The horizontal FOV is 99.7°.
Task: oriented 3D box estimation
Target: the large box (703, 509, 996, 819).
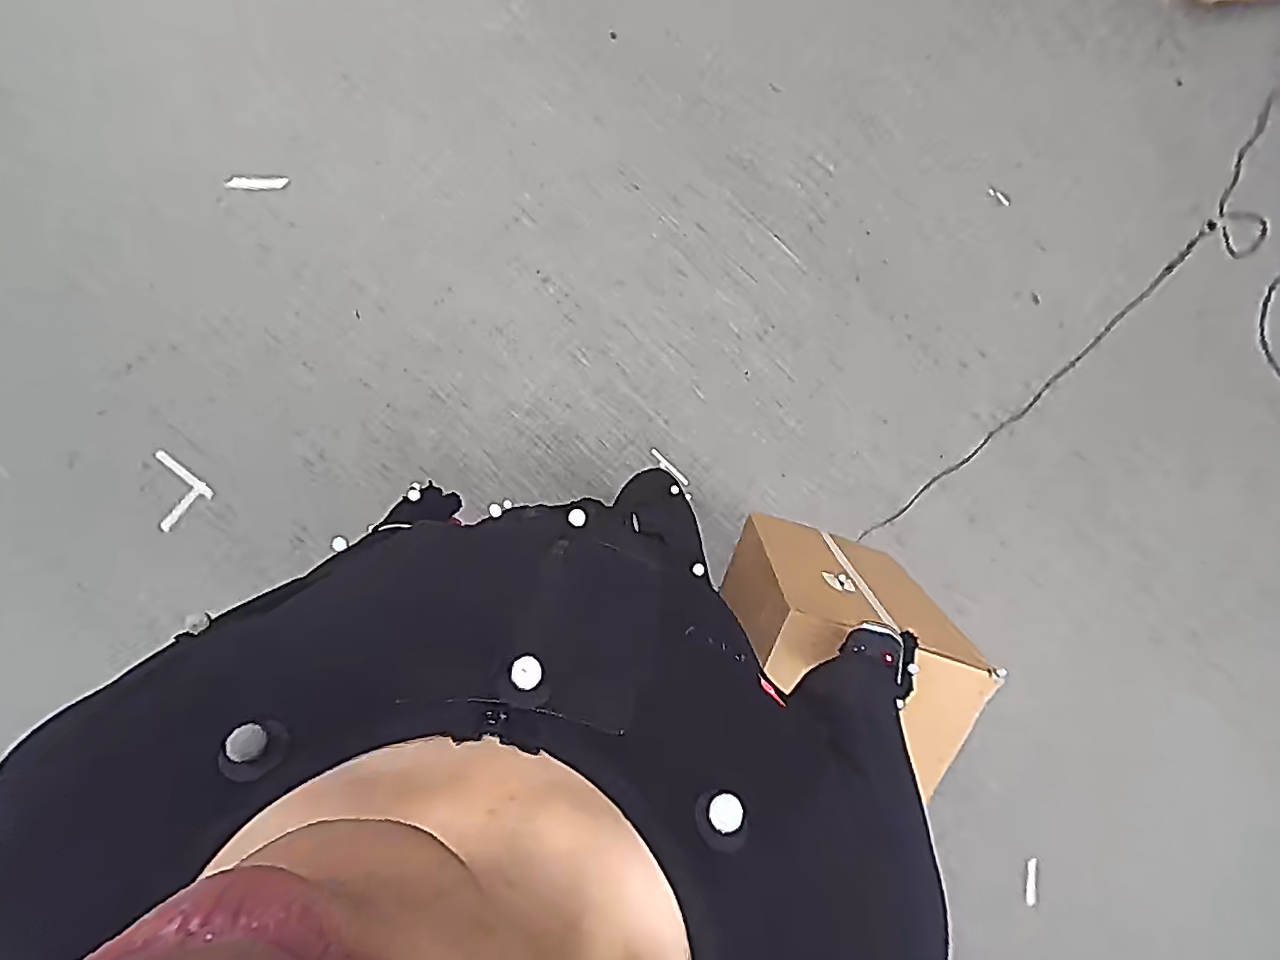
[{"bbox_3d":[0.320,0.299,0.984,0.320,0.408,0.320,16,108,-2],"label":"large box"}]
